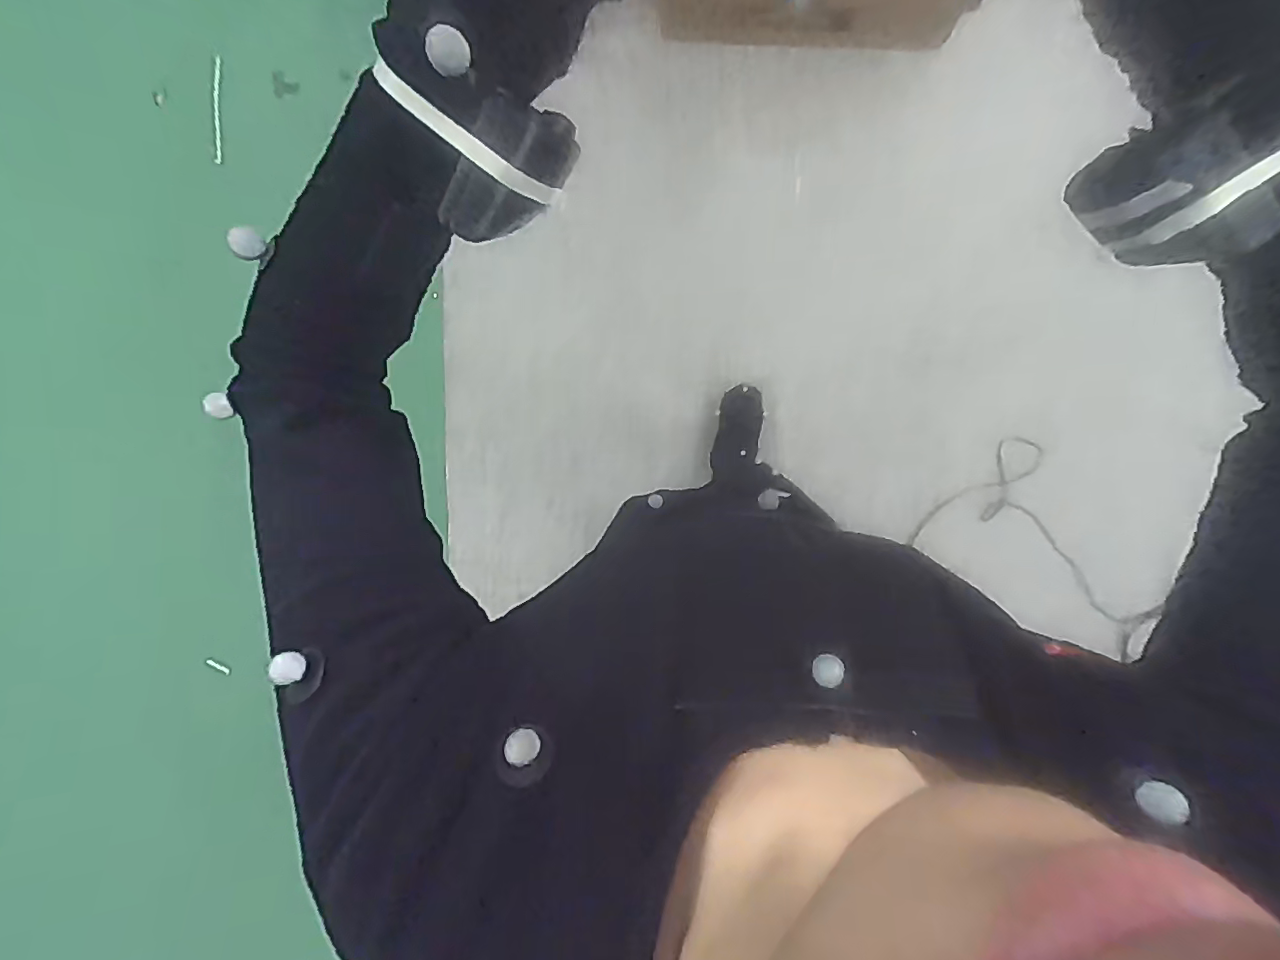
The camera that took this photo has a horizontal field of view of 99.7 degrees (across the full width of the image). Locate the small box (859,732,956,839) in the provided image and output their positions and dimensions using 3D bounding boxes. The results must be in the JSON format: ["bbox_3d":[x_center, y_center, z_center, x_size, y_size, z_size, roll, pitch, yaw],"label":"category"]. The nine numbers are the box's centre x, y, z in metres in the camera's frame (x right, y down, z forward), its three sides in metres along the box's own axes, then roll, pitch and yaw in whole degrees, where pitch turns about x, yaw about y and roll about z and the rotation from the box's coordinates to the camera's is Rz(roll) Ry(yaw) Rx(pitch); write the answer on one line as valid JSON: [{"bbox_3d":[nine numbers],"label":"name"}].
[{"bbox_3d":[0.657,0.749,1.342,0.168,0.176,0.179,2,89,3],"label":"small box"}]
